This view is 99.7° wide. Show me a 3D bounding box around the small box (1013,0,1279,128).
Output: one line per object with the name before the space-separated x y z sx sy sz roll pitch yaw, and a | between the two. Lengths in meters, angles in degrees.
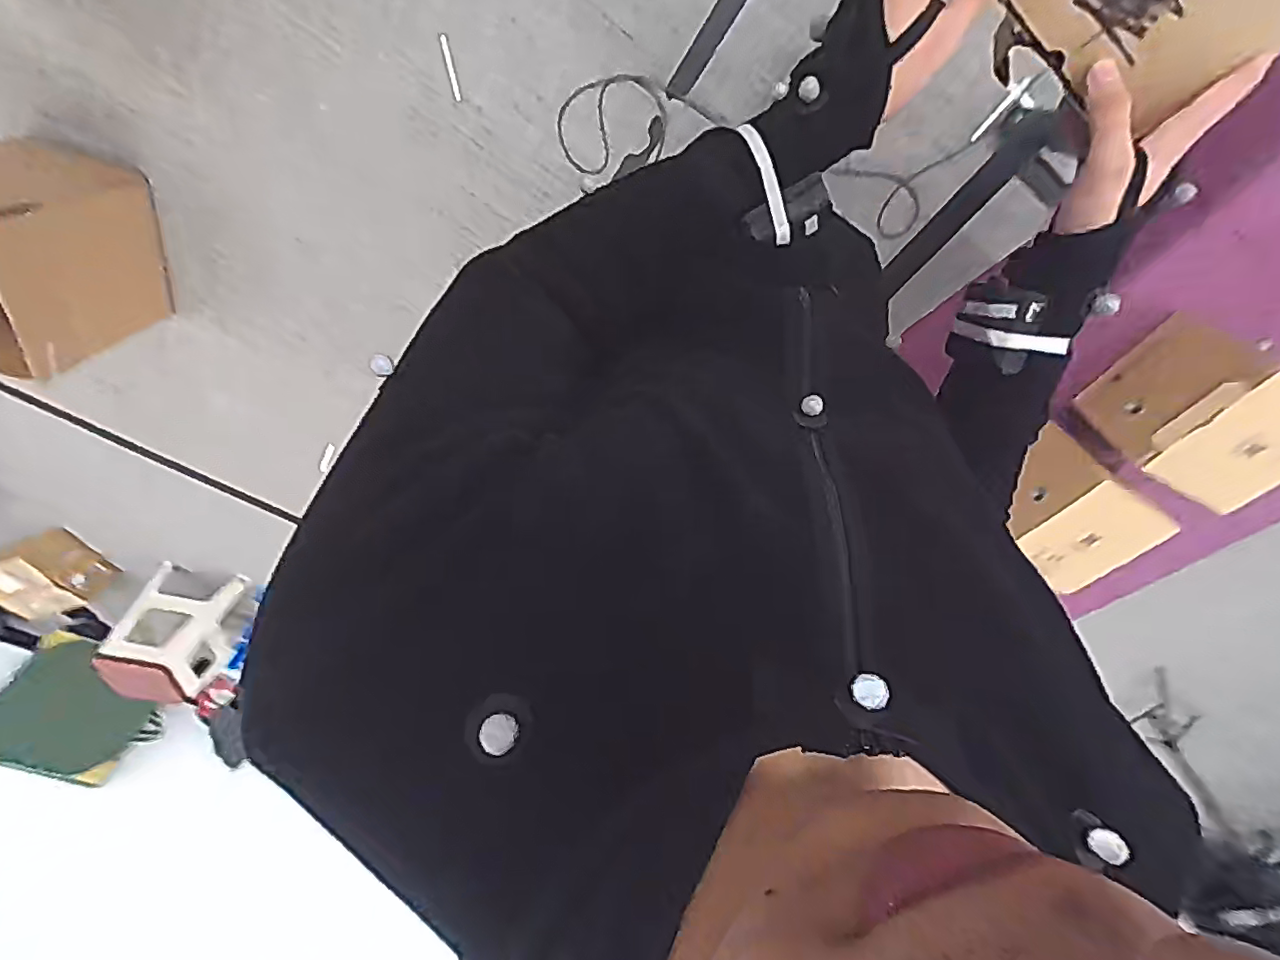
small box | 0.322 -0.368 0.315 0.168 0.176 0.179 29 144 -19

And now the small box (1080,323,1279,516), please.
small box | 0.762 -0.088 0.731 0.179 0.176 0.168 24 128 -13
